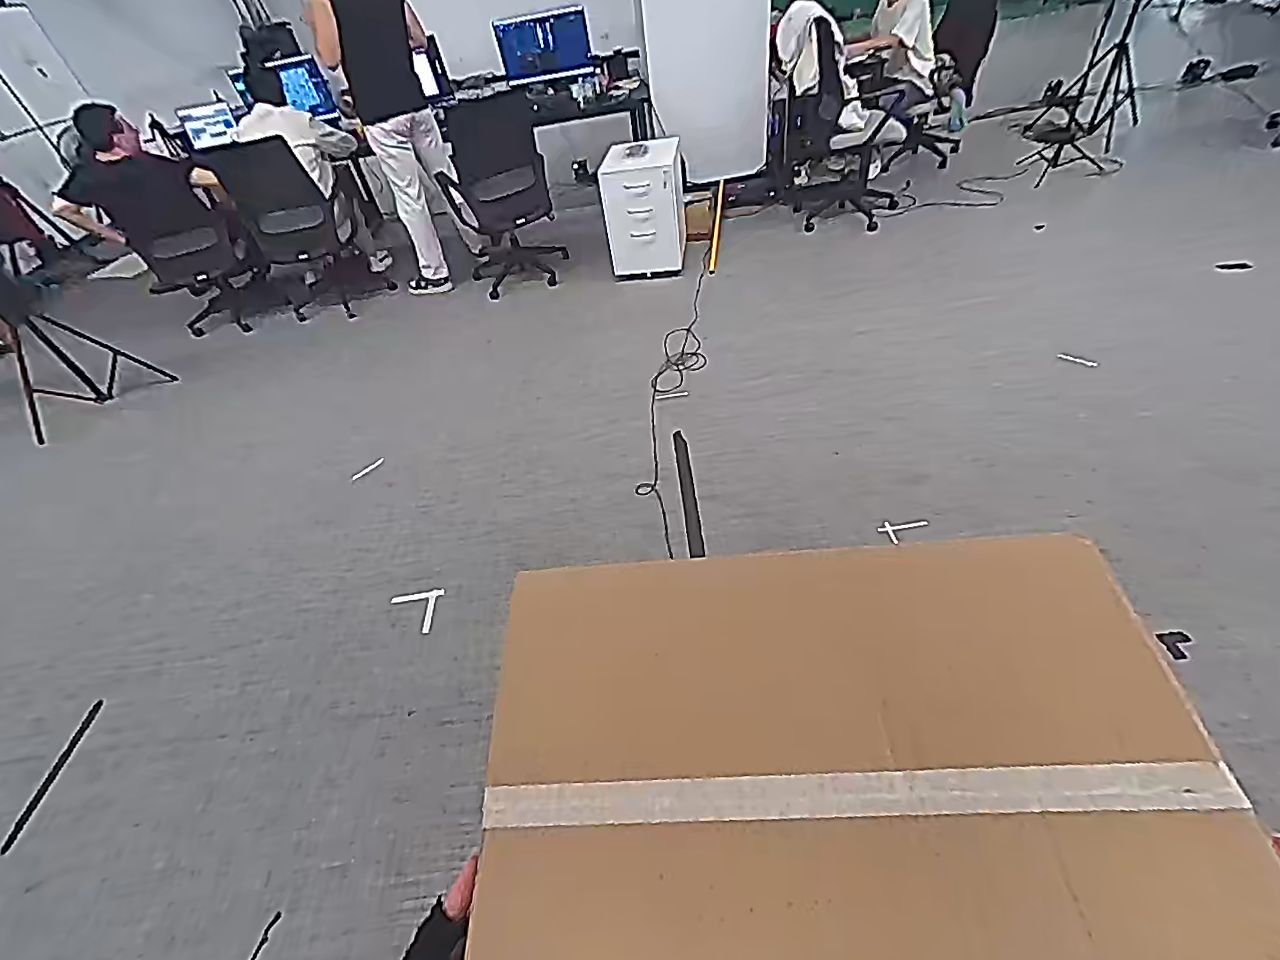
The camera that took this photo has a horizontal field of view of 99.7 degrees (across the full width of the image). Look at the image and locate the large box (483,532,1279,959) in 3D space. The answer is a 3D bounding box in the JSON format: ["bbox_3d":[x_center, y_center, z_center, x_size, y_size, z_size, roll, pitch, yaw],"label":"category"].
[{"bbox_3d":[0.129,0.268,0.436,0.408,0.320,0.320,-5,54,6],"label":"large box"}]
